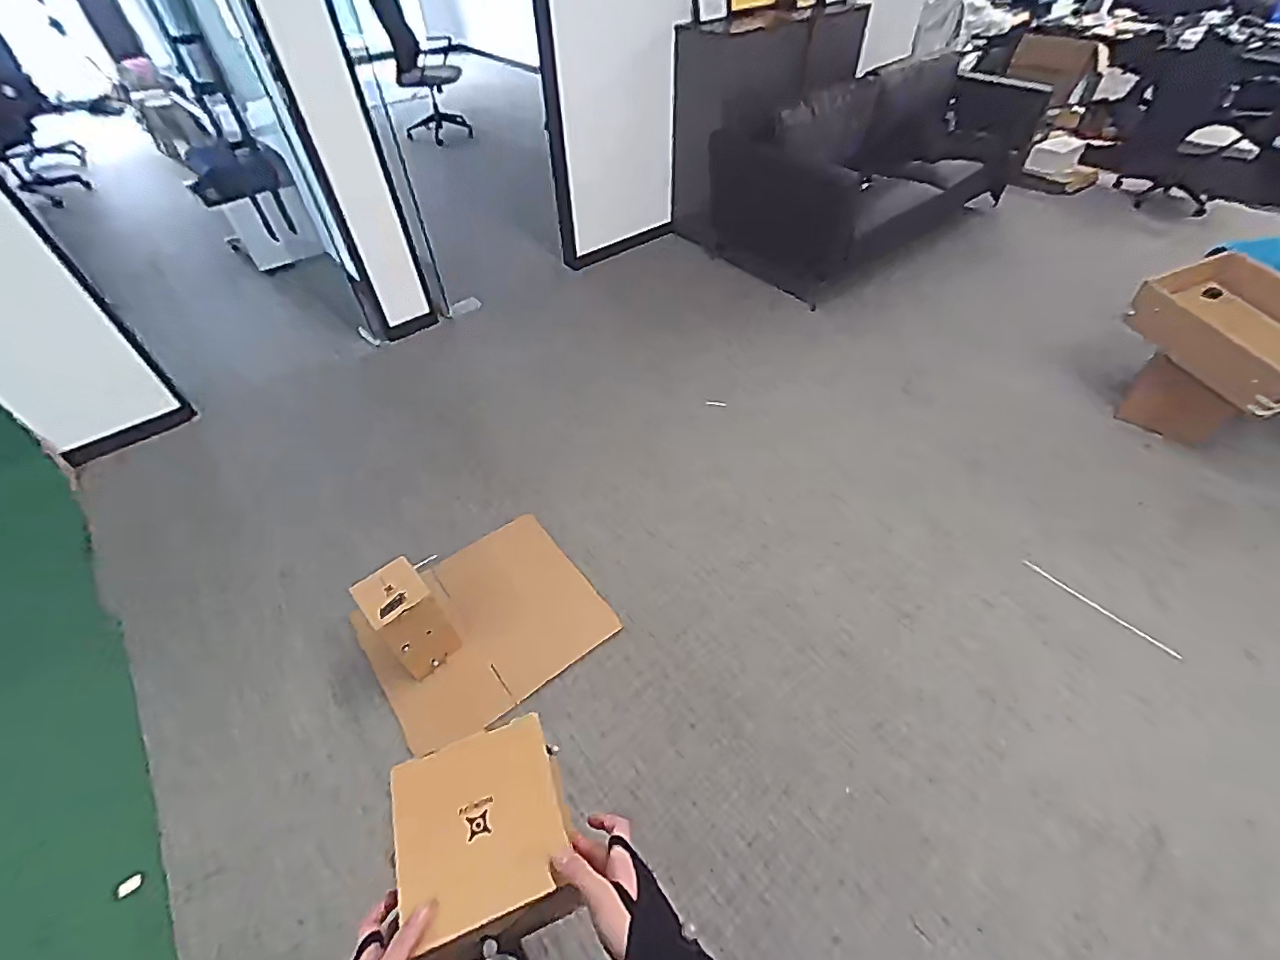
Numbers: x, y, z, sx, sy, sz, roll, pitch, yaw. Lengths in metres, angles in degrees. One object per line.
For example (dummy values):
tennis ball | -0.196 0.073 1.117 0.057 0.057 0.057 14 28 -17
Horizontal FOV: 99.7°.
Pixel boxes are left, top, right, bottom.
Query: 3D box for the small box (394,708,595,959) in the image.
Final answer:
small box | -0.158 0.400 0.613 0.168 0.176 0.179 -18 47 -14

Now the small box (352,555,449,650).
small box | -0.669 0.354 1.528 0.168 0.176 0.179 -35 55 -26

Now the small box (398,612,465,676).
small box | -0.664 0.463 1.650 0.179 0.176 0.168 36 58 28
